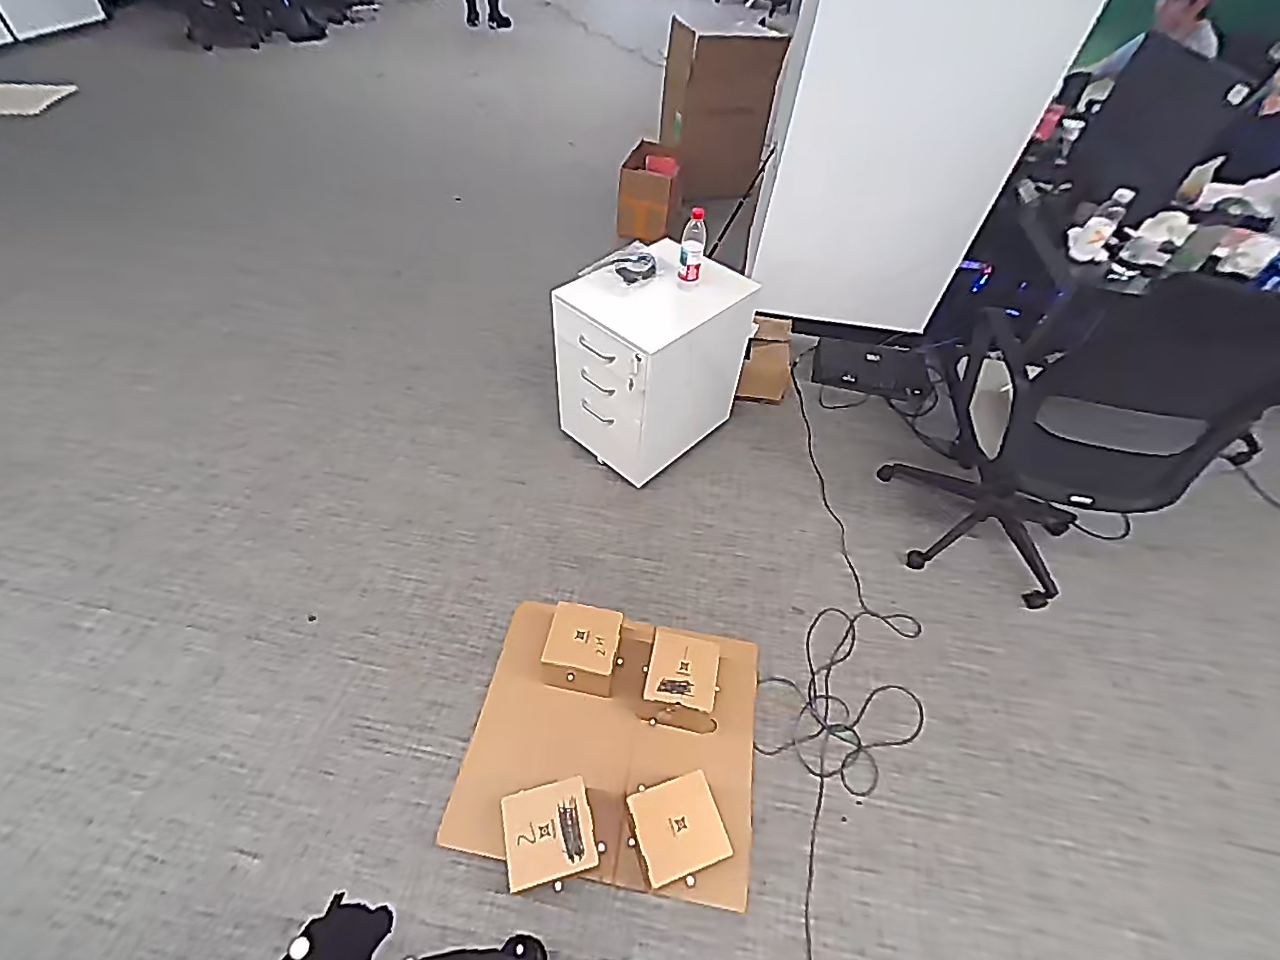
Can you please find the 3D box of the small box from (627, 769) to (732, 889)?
[{"bbox_3d":[0.076,0.759,1.175,0.179,0.176,0.168,-14,52,-13],"label":"small box"}]
